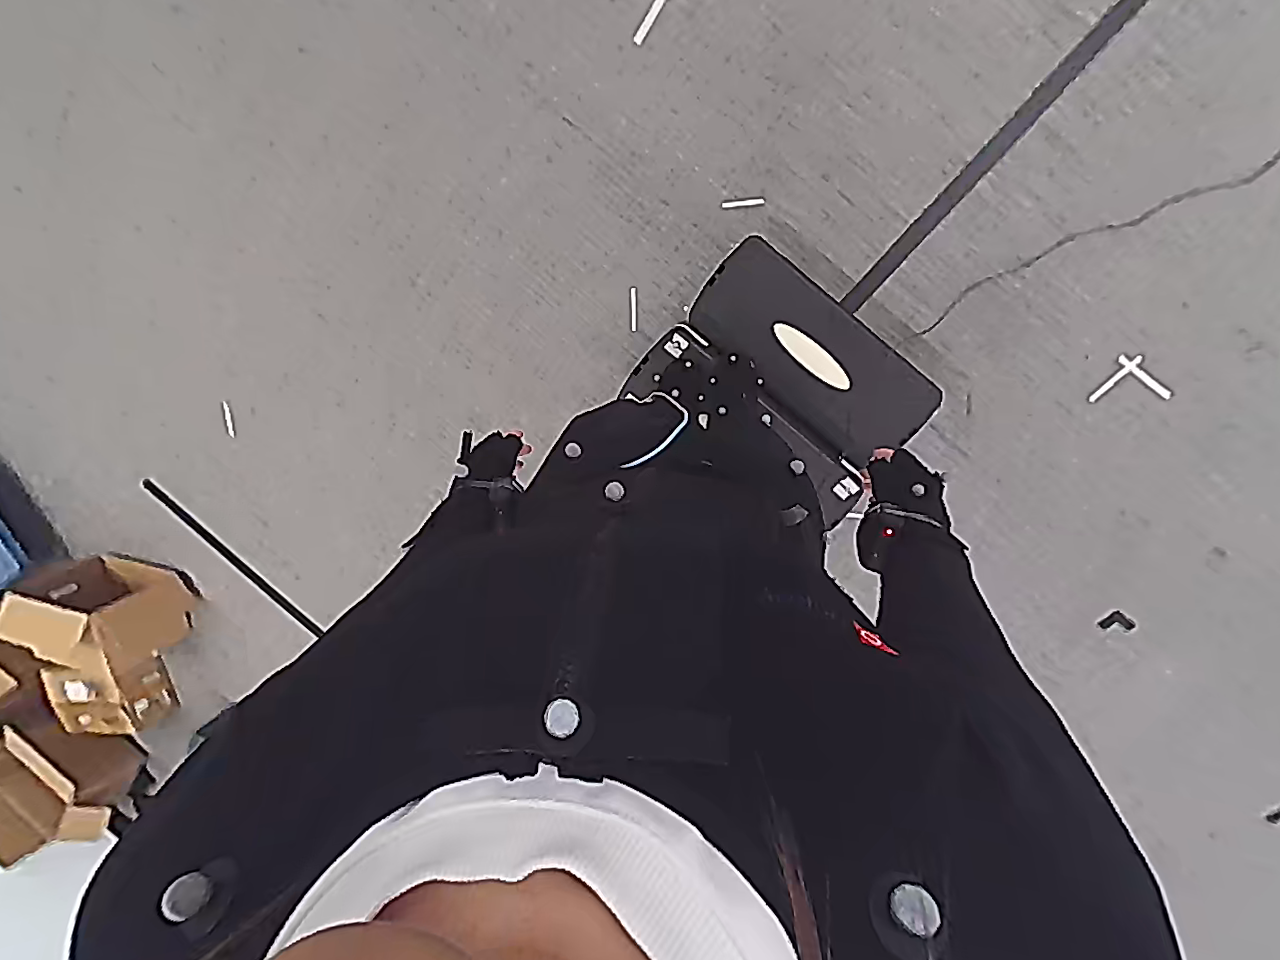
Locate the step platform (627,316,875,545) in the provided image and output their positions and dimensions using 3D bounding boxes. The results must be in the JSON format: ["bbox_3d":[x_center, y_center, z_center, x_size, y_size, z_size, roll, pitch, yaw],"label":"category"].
[{"bbox_3d":[0.295,-0.135,1.478,0.684,0.204,0.286,40,110,1],"label":"step platform"}]
